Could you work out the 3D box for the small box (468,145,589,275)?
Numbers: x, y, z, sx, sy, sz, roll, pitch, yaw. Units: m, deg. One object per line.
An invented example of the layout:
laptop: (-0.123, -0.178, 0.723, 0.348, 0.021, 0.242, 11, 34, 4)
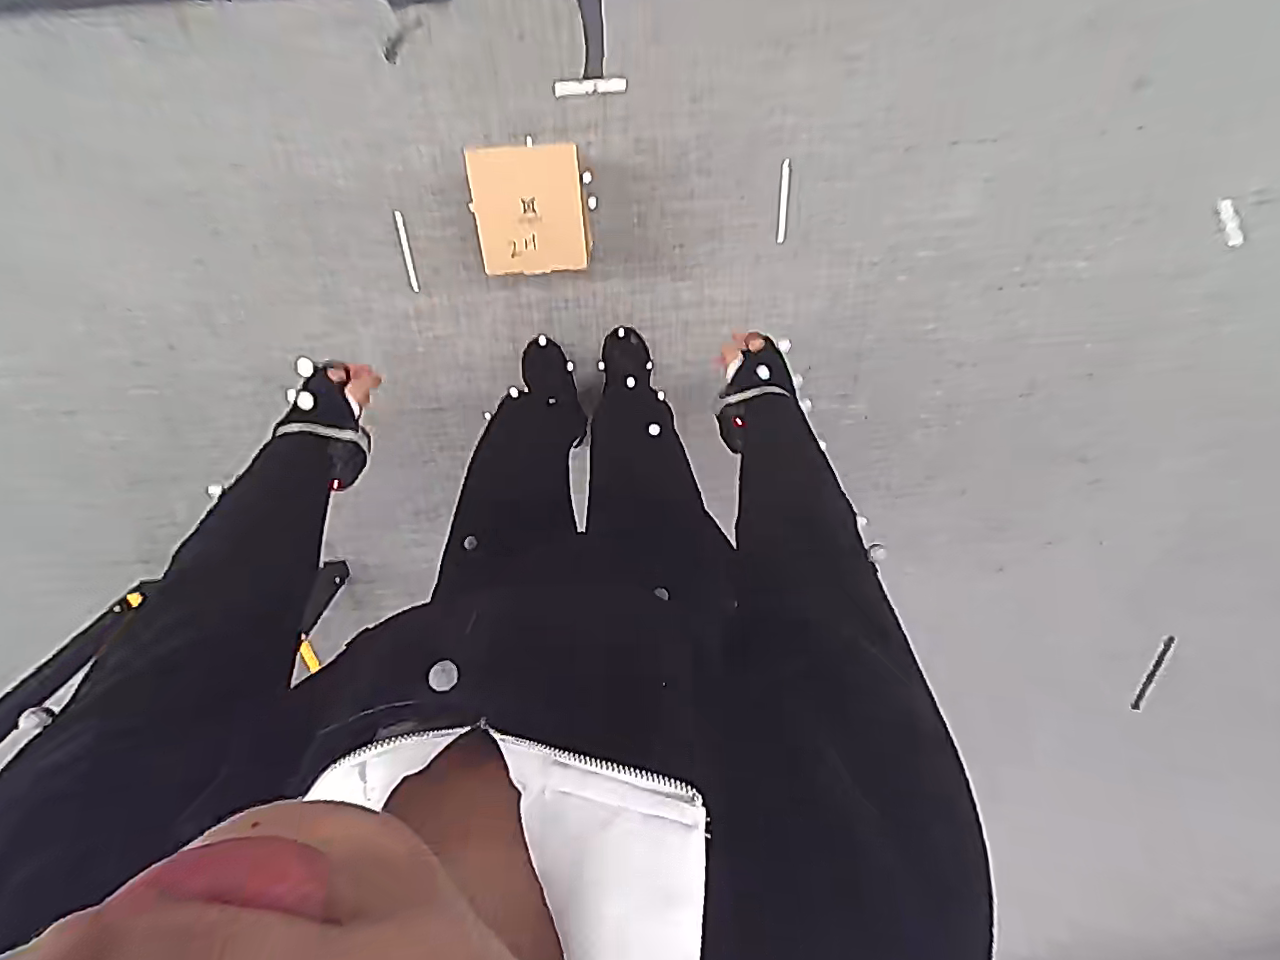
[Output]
small box: (-0.174, -0.445, 0.897, 0.168, 0.176, 0.179, -4, 119, -1)
